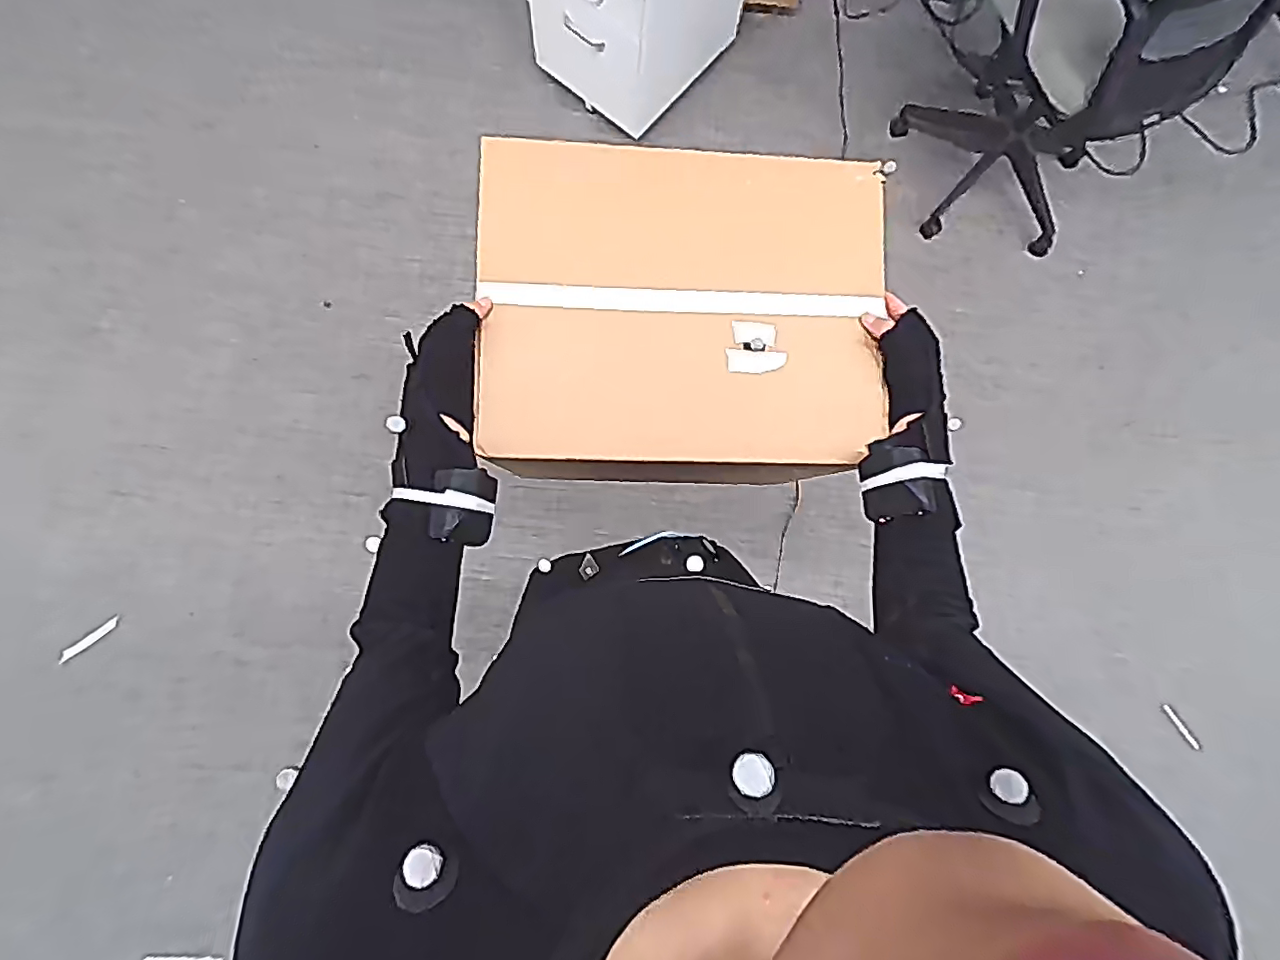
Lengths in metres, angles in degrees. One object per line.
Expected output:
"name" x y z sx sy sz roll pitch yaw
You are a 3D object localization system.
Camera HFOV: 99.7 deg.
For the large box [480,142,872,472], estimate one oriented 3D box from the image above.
"large box" 0.027 -0.174 0.692 0.408 0.320 0.320 1 88 -6
